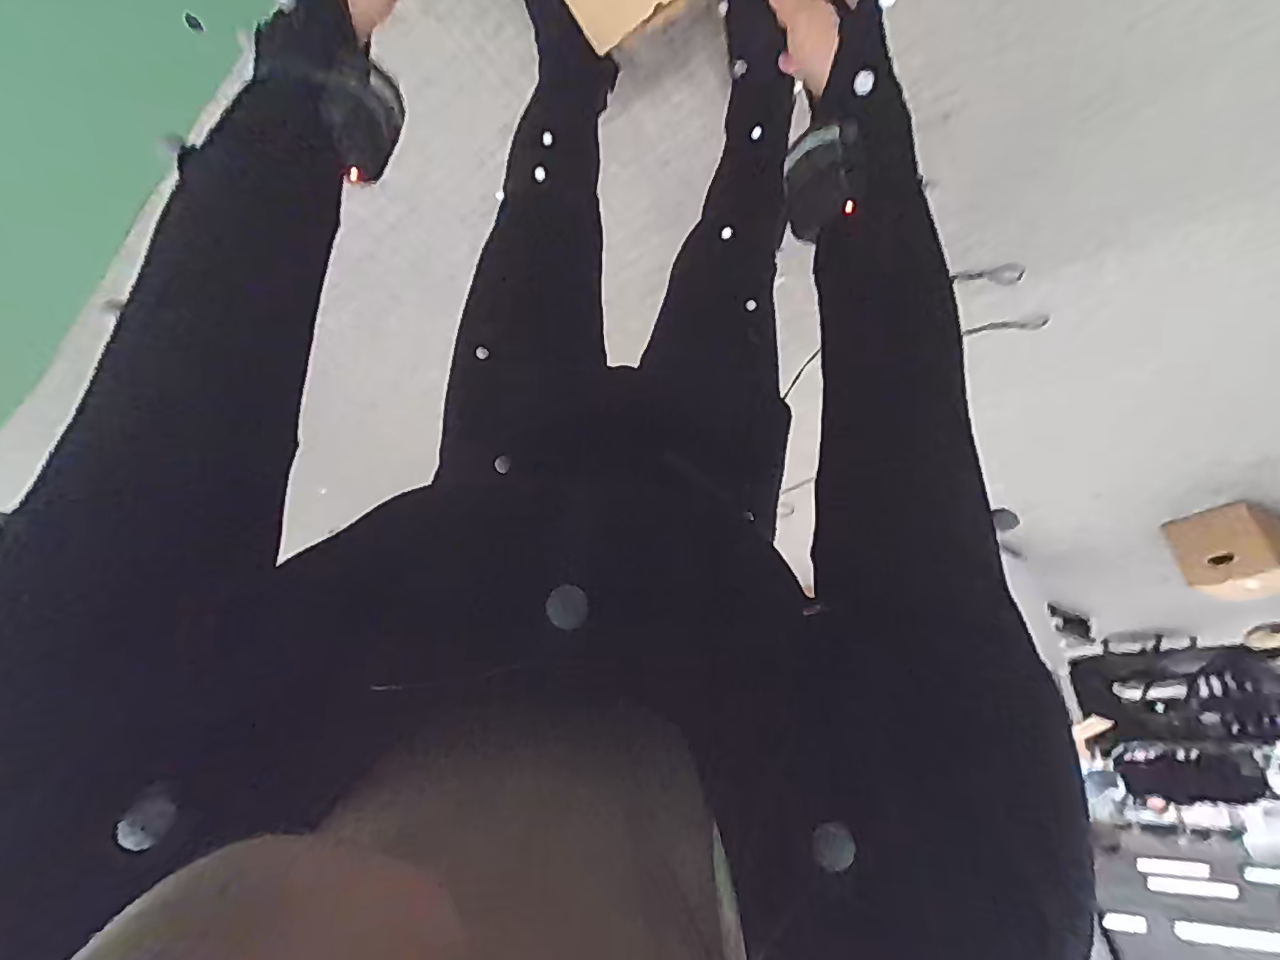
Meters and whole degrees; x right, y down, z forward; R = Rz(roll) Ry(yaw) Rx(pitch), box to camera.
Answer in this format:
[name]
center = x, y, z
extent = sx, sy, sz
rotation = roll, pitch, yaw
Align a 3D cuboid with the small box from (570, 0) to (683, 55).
[small box]
center = -0.016, -0.599, 0.541
extent = 0.168, 0.176, 0.179
rotation = -16, 149, 29
